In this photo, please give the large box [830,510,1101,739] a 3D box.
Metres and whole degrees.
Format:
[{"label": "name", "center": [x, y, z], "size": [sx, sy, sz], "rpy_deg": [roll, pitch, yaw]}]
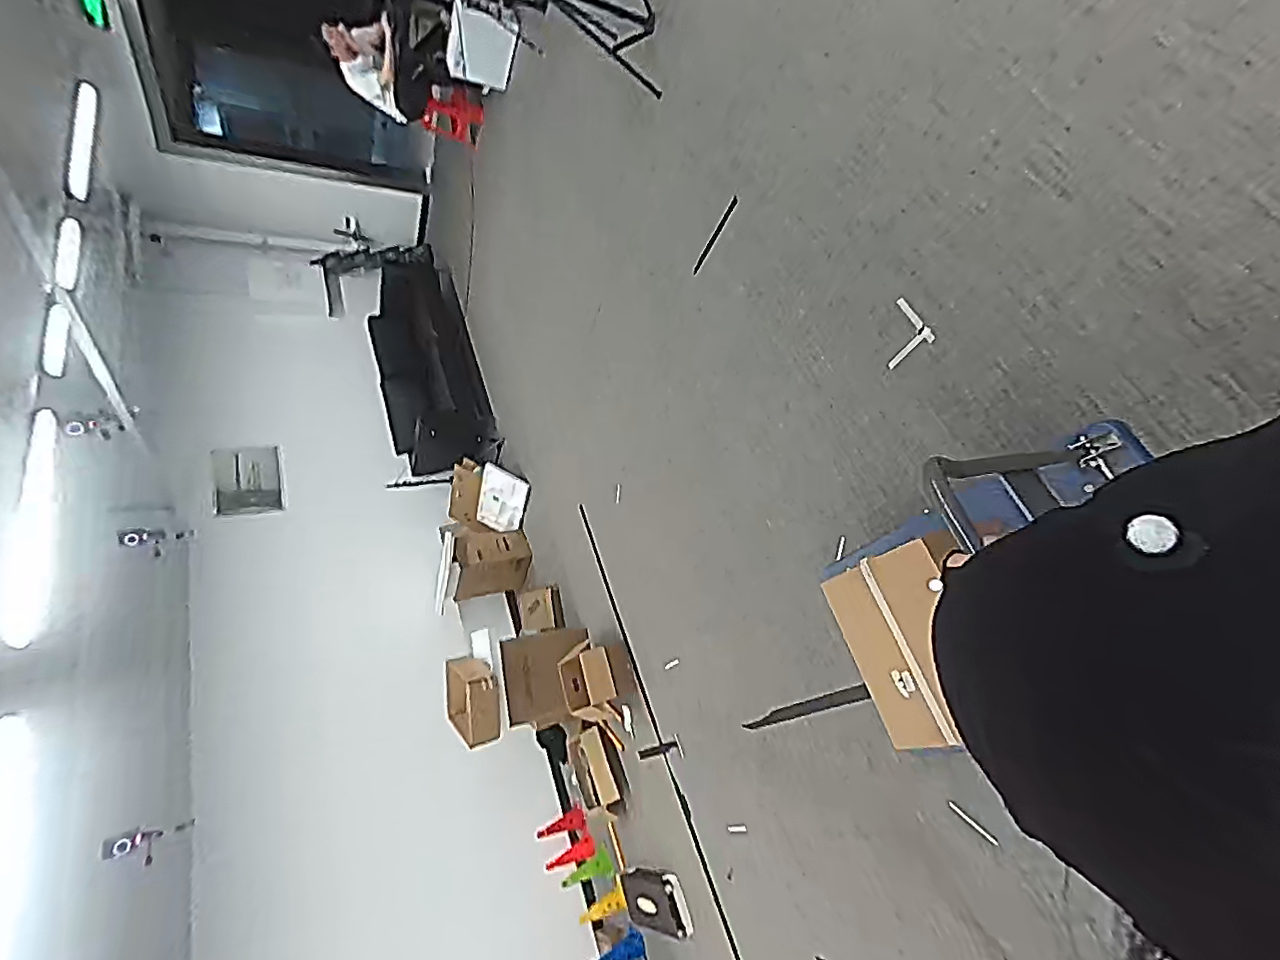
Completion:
[{"label": "large box", "center": [0.730, 0.325, 1.252], "size": [0.320, 0.320, 0.408], "rpy_deg": [-49, 55, 52]}]
